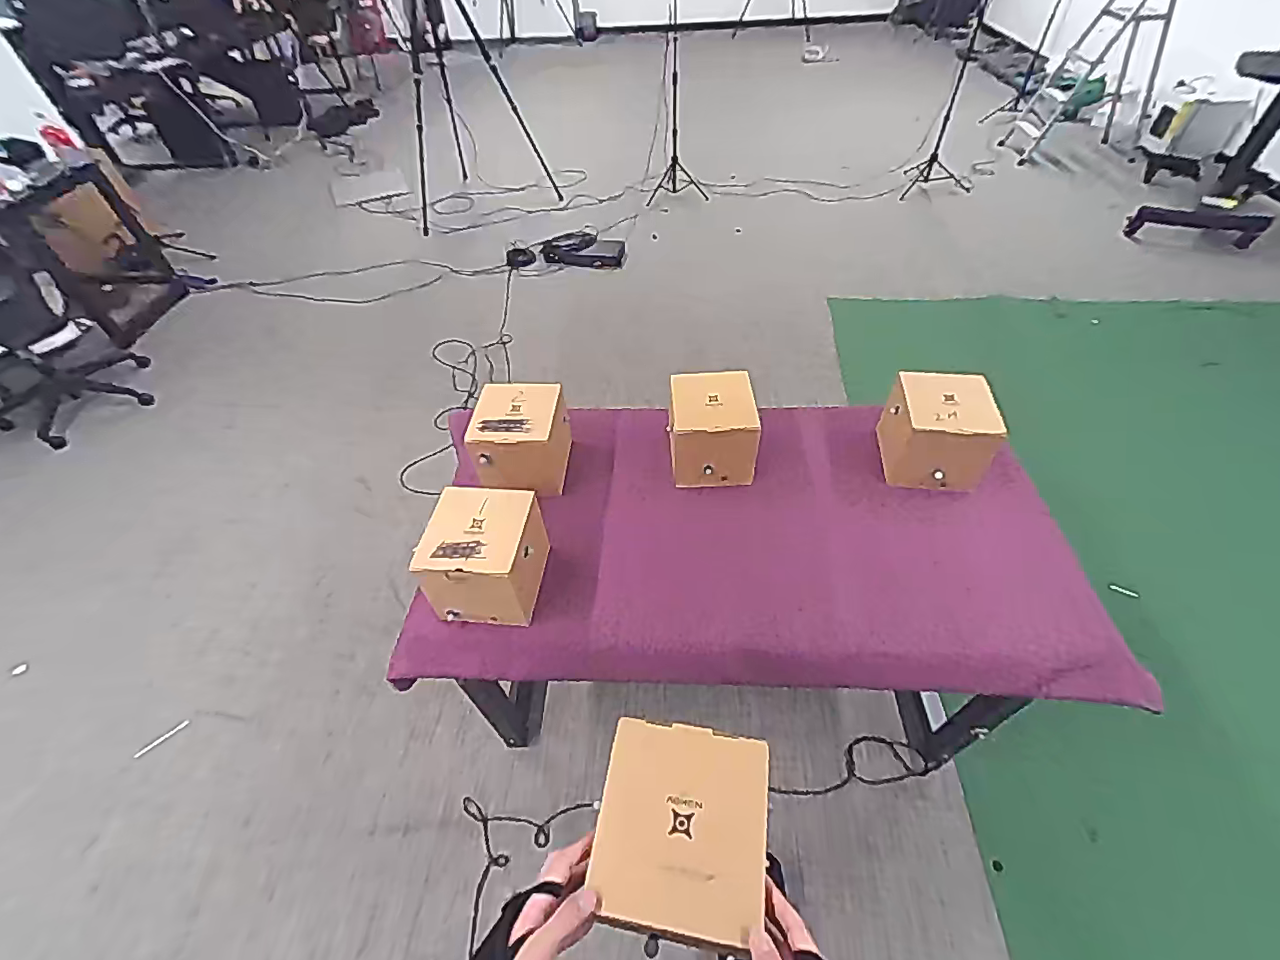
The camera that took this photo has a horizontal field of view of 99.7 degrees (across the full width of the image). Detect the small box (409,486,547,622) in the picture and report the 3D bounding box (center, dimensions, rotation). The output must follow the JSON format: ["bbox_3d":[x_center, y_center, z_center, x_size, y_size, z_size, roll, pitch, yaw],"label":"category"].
[{"bbox_3d":[-0.268,0.132,0.947,0.168,0.176,0.179,3,48,5],"label":"small box"}]

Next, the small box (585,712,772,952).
[{"bbox_3d":[0.047,0.384,0.593,0.168,0.176,0.179,6,49,9],"label":"small box"}]

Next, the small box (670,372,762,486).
[{"bbox_3d":[0.151,-0.106,1.139,0.168,0.176,0.179,-2,50,0],"label":"small box"}]

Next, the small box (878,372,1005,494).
[{"bbox_3d":[0.601,-0.097,1.105,0.168,0.176,0.179,5,50,8],"label":"small box"}]
